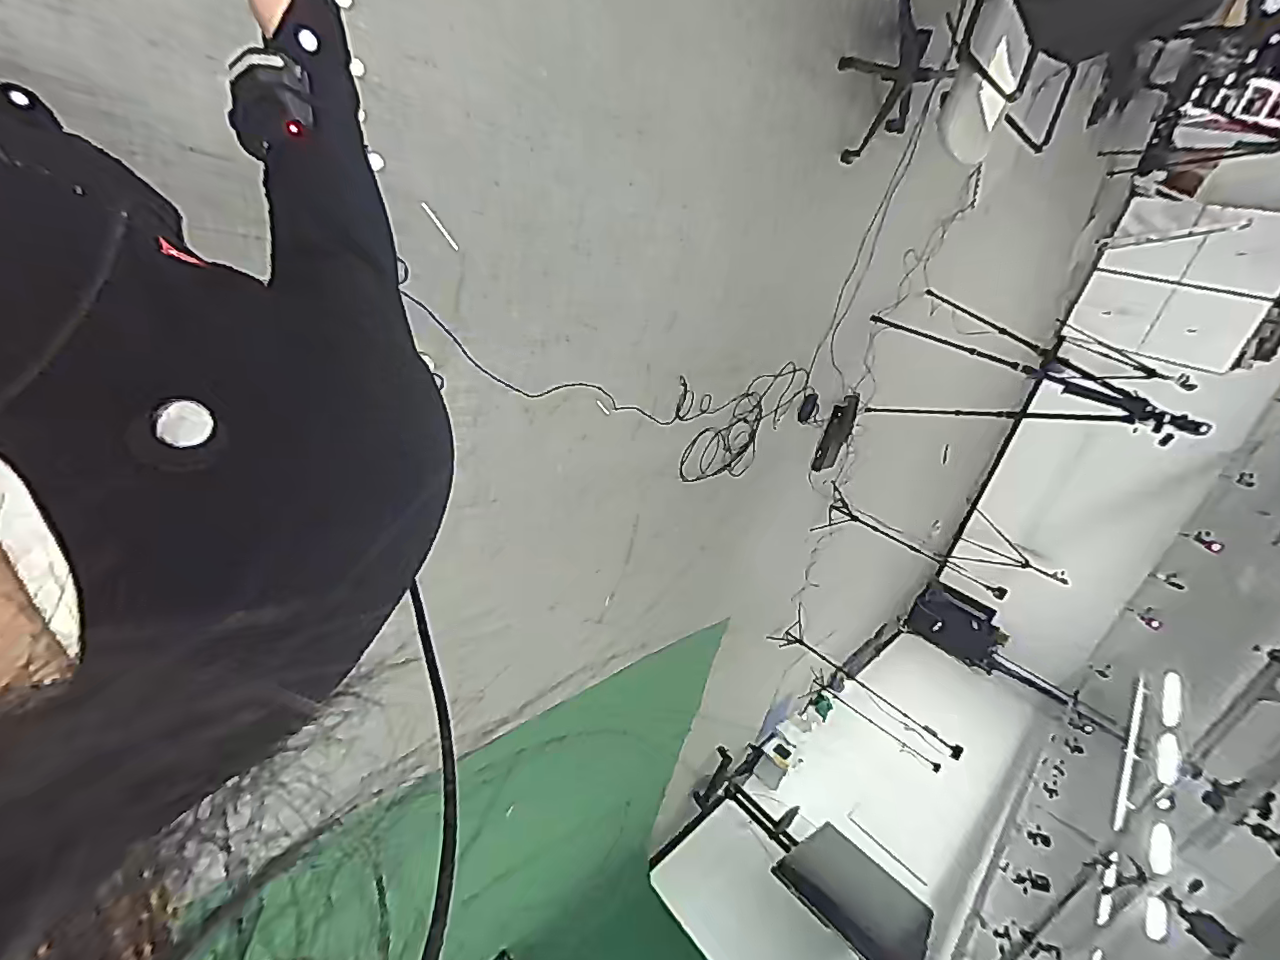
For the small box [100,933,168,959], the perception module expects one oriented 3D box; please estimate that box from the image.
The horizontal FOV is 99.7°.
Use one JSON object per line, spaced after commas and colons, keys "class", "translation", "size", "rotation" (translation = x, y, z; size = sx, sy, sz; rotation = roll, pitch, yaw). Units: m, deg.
{"class": "small box", "translation": [-1.382, 1.386, 1.459], "size": [0.168, 0.176, 0.179], "rotation": [-8, 120, -46]}
